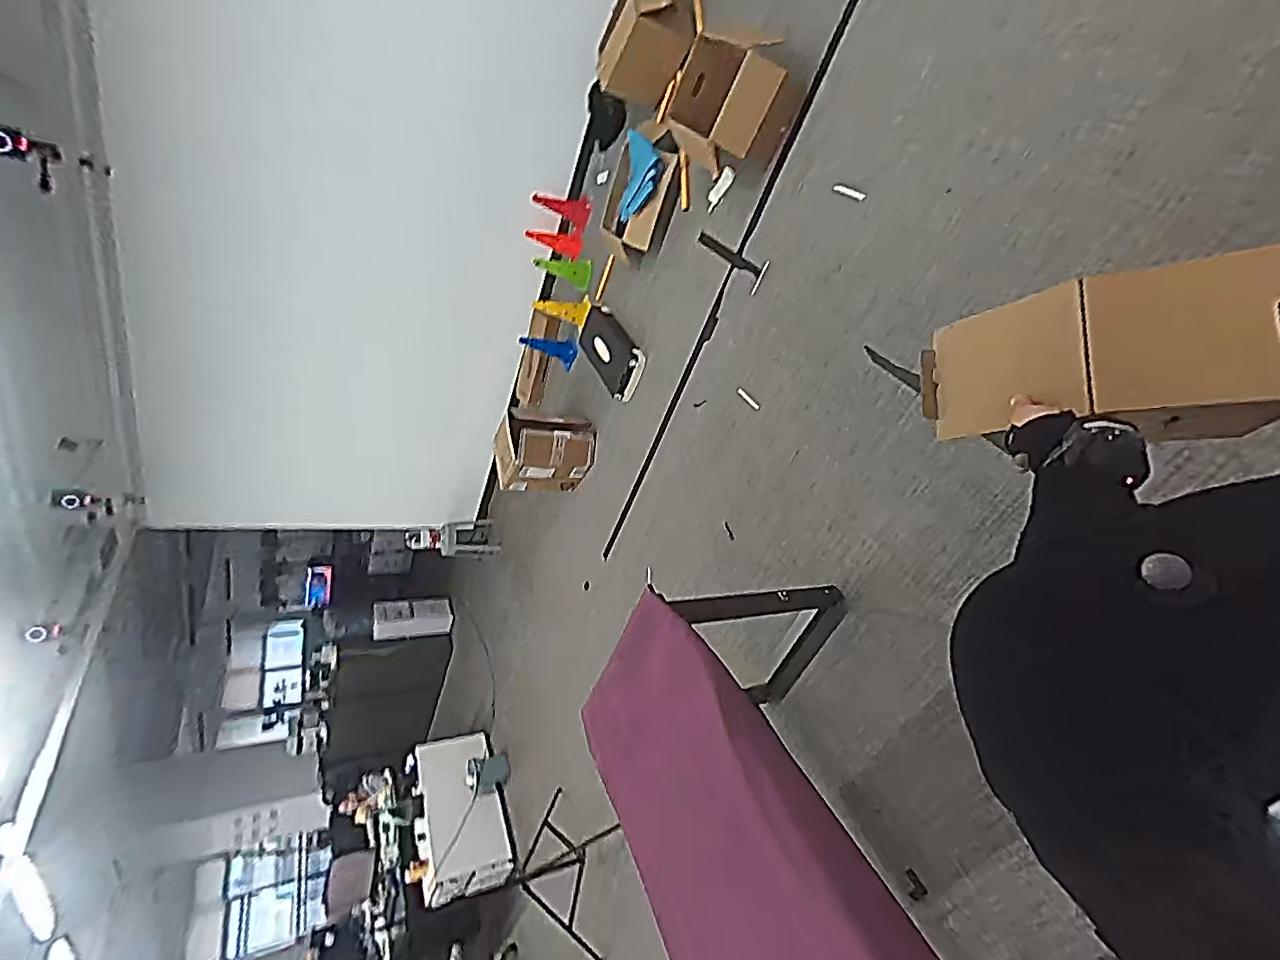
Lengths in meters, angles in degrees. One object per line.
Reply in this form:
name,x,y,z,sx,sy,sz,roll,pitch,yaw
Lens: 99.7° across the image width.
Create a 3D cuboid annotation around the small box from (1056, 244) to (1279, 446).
small box,0.605,-0.139,0.631,0.179,0.176,0.168,-3,81,30
